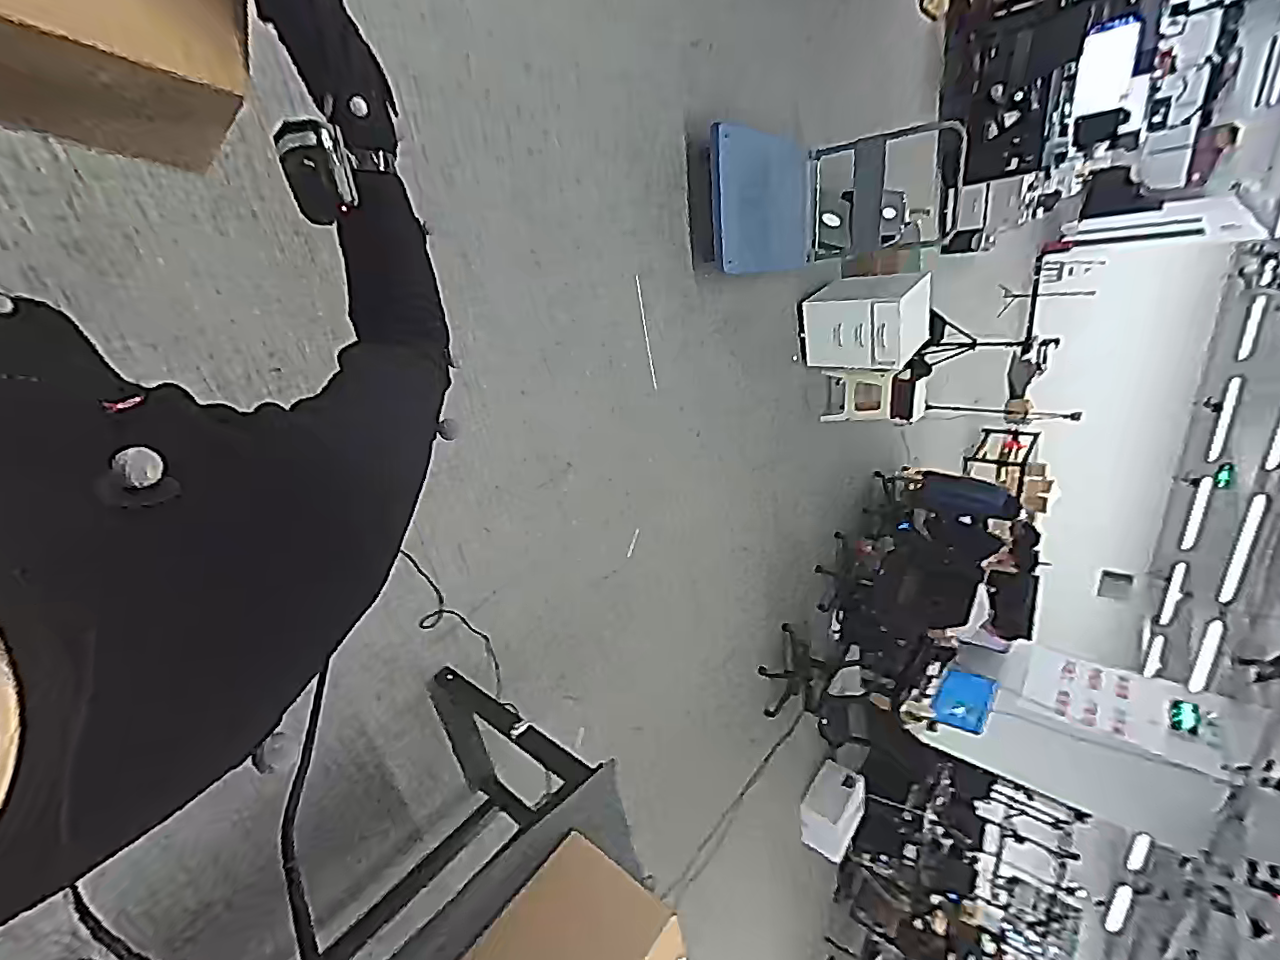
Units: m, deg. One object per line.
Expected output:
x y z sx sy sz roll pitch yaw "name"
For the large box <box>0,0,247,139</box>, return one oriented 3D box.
-0.530 -0.480 0.343 0.408 0.320 0.320 -6 108 -44 "large box"
